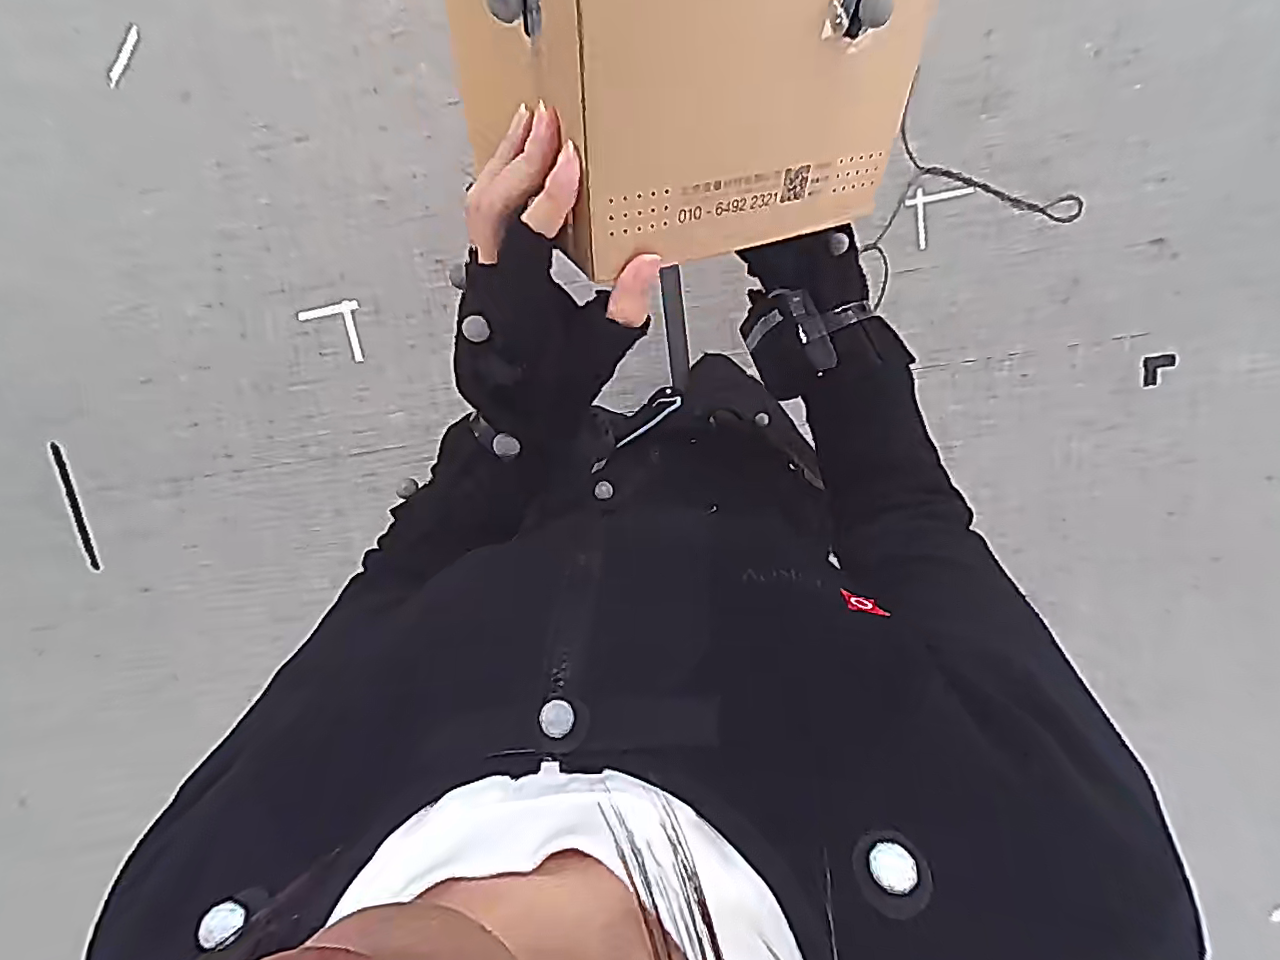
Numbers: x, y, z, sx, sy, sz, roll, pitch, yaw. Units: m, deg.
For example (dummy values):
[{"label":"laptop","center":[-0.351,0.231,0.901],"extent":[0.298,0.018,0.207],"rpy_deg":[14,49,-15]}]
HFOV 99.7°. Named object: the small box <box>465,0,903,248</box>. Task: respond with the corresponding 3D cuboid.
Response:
[{"label":"small box","center":[0.014,-0.233,0.273],"extent":[0.168,0.179,0.176],"rpy_deg":[-20,140,-20]}]
